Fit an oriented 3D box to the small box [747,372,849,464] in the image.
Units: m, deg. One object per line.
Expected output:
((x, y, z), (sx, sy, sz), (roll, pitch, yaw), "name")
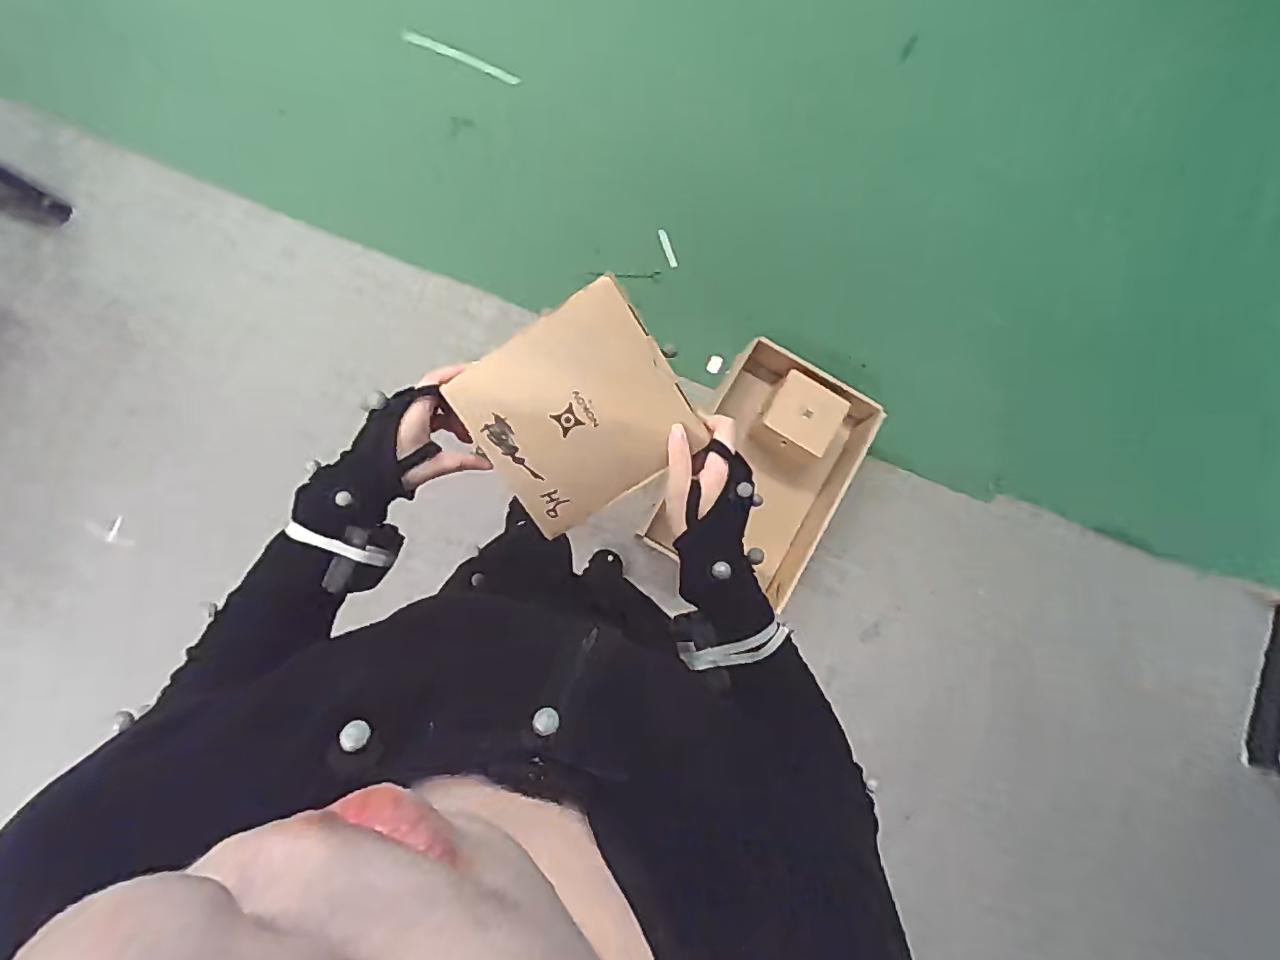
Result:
((0.411, -0.156, 1.442), (0.179, 0.176, 0.168), (33, 85, -1), "small box")
